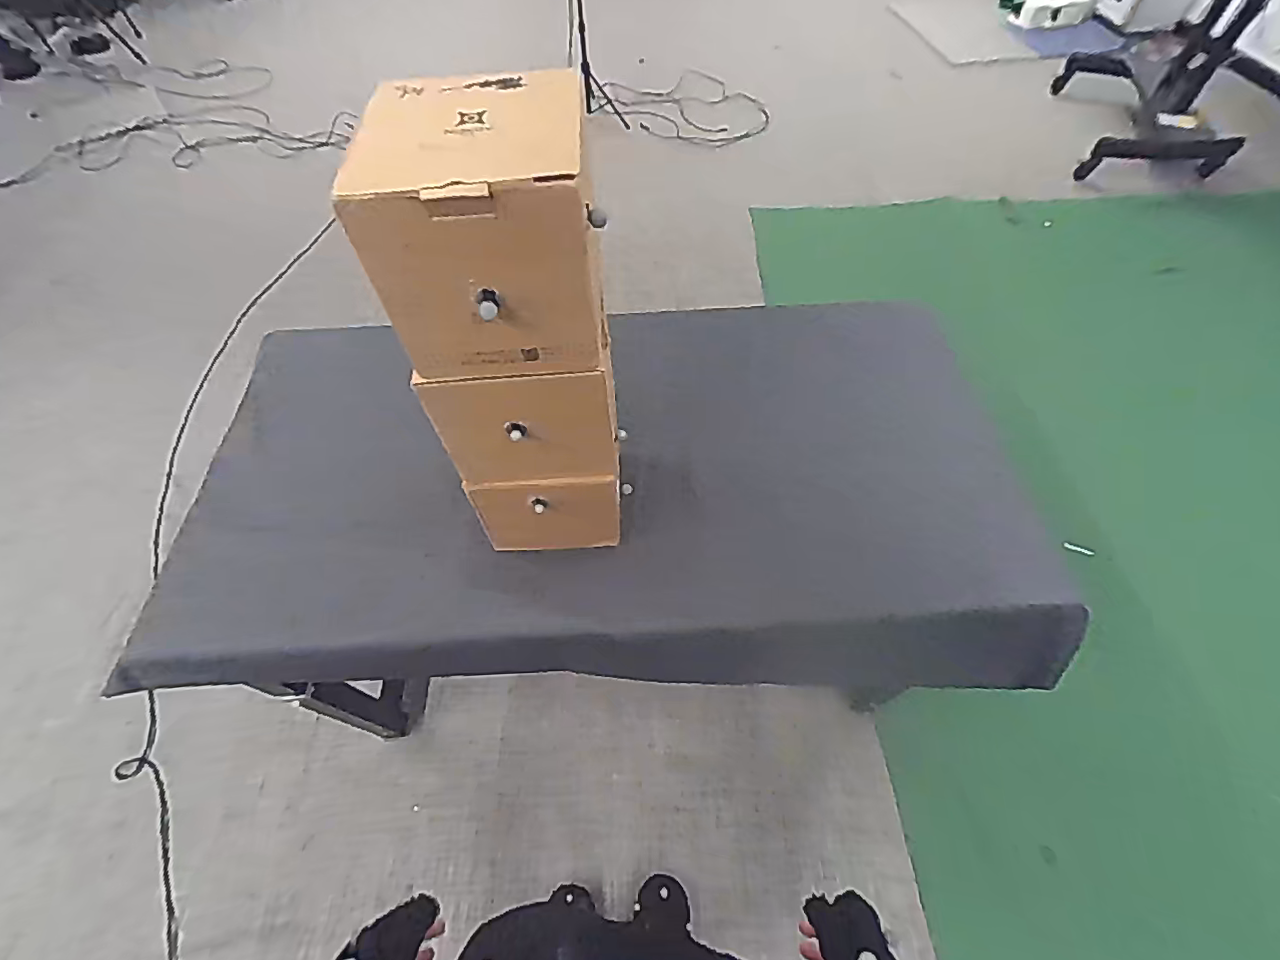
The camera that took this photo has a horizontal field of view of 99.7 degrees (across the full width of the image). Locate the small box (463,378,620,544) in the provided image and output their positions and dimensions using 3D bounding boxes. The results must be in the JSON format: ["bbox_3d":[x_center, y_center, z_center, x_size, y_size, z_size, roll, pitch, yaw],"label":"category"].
[{"bbox_3d":[-0.119,-0.021,0.729,0.179,0.176,0.168,-2,58,-2],"label":"small box"}]

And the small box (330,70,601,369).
[{"bbox_3d":[-0.122,-0.209,0.460,0.168,0.176,0.179,-3,58,-1],"label":"small box"}]

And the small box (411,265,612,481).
[{"bbox_3d":[-0.121,-0.113,0.593,0.179,0.176,0.168,-4,58,0],"label":"small box"}]
